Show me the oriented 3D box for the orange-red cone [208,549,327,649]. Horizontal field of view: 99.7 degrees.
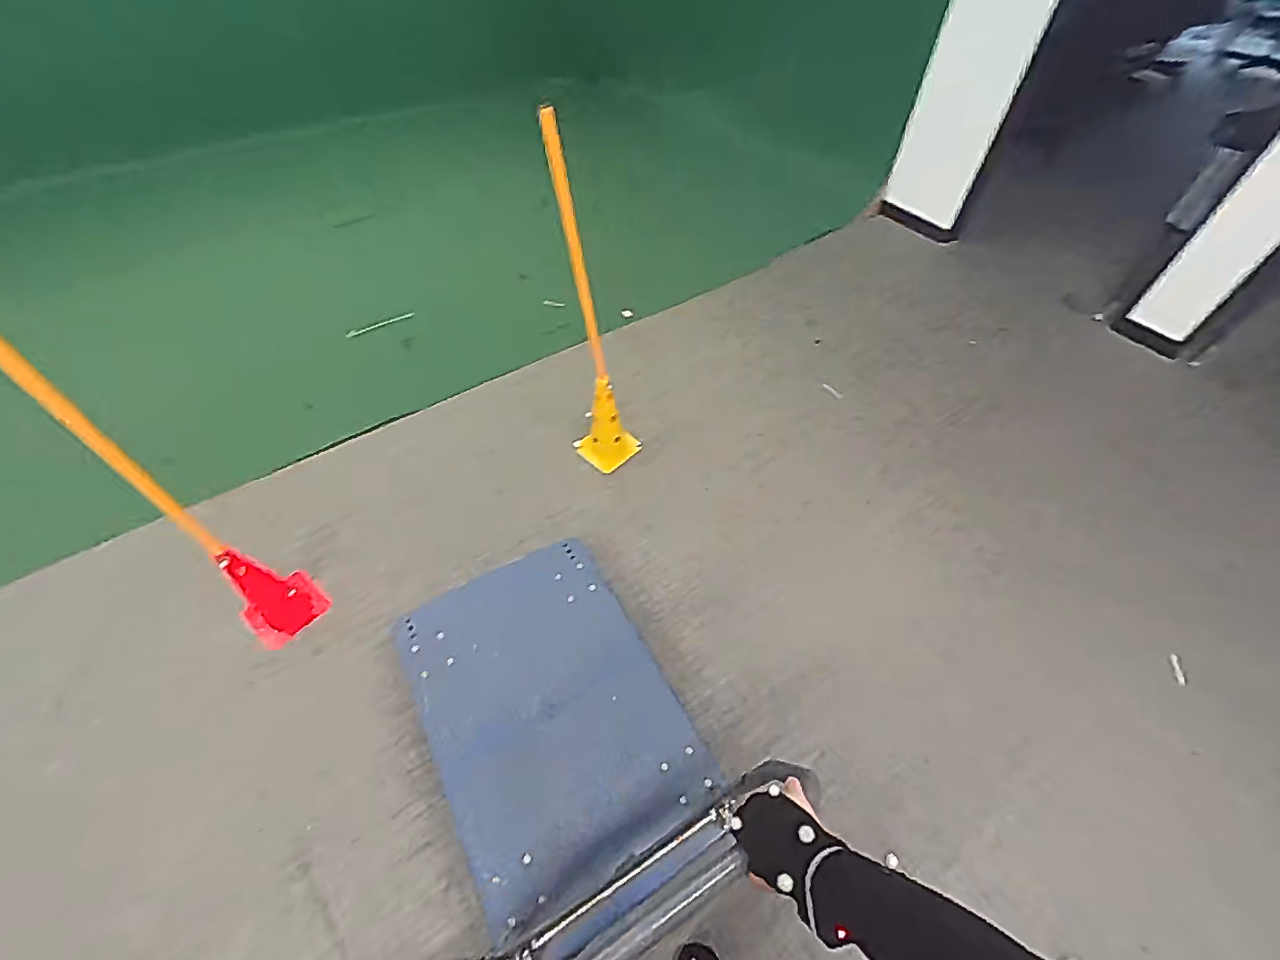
[{"bbox_3d":[-1.099,0.301,1.537,0.198,0.360,0.199,34,61,24],"label":"orange-red cone"}]
